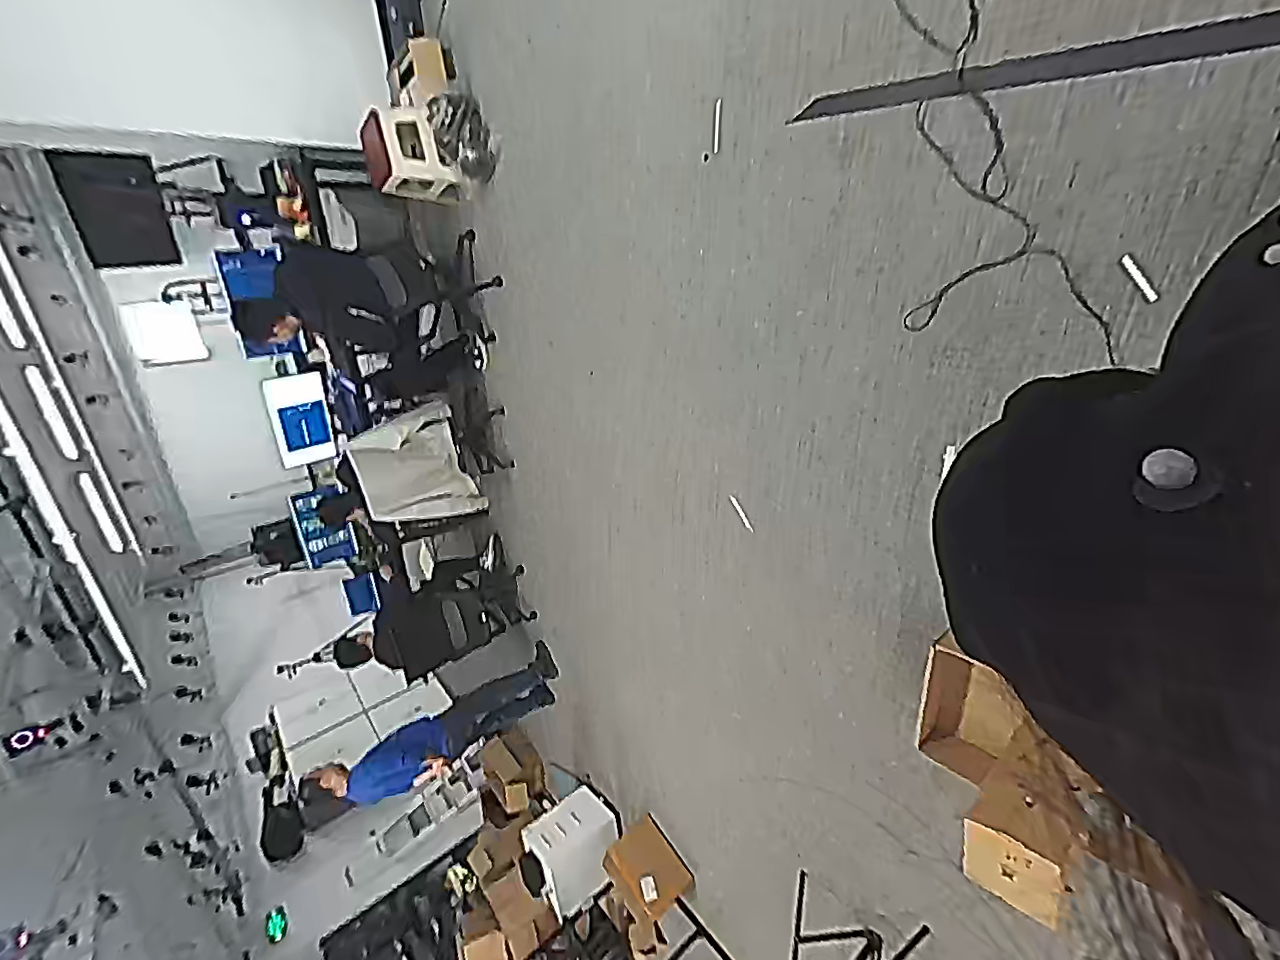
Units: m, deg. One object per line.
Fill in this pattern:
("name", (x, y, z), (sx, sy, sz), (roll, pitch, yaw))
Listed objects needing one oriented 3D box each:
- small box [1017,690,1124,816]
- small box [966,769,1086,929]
("small box", (1.053, 0.658, 1.323), (0.168, 0.176, 0.179), (14, 117, 48))
("small box", (0.805, 0.757, 1.129), (0.168, 0.176, 0.179), (11, 116, 48))
